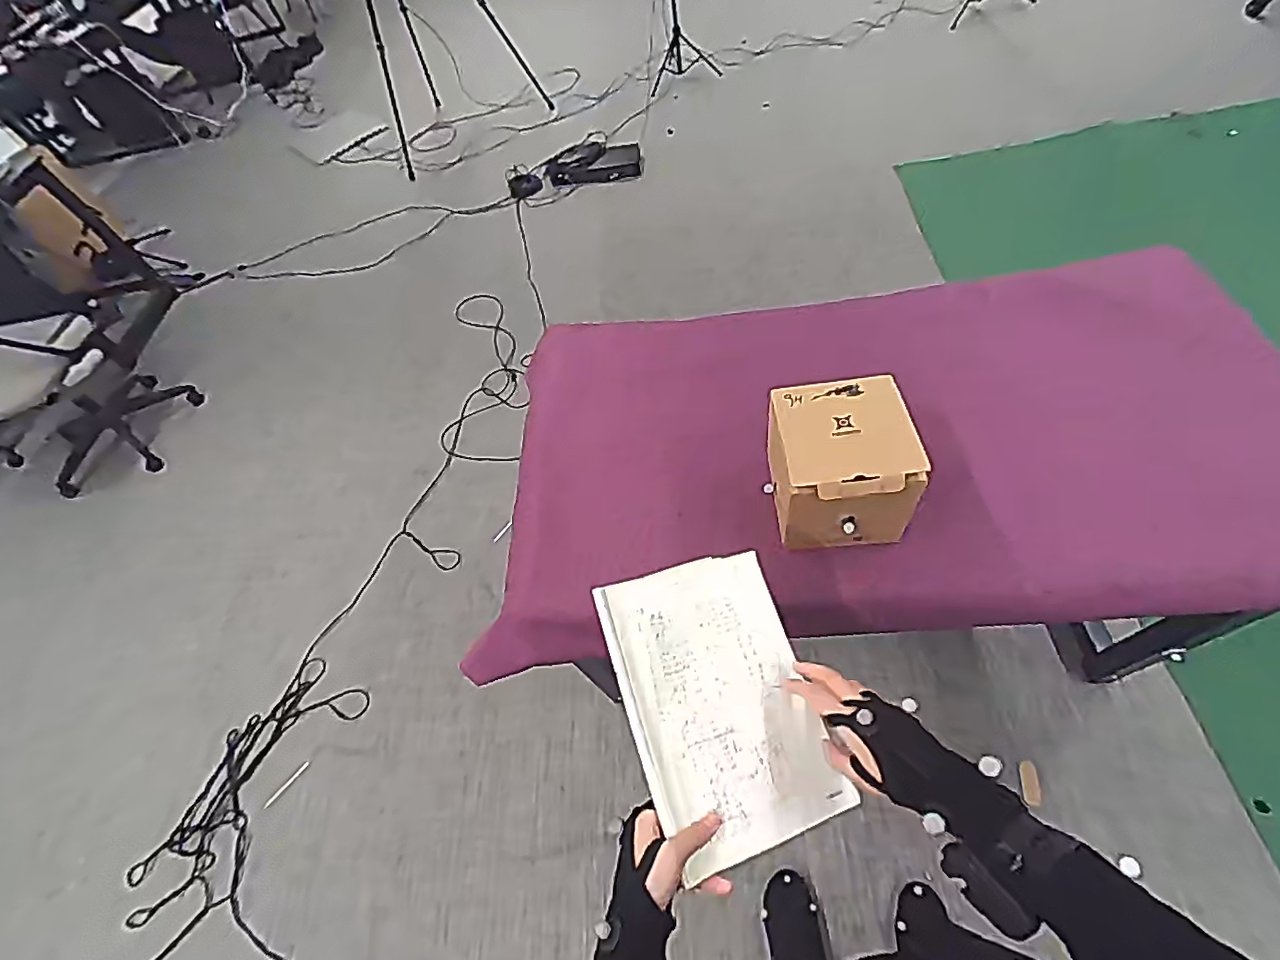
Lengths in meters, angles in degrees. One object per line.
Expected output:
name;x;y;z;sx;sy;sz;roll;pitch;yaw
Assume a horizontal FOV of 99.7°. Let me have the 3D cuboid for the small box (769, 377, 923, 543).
small box;0.279;-0.019;0.776;0.168;0.176;0.179;-6;57;8
